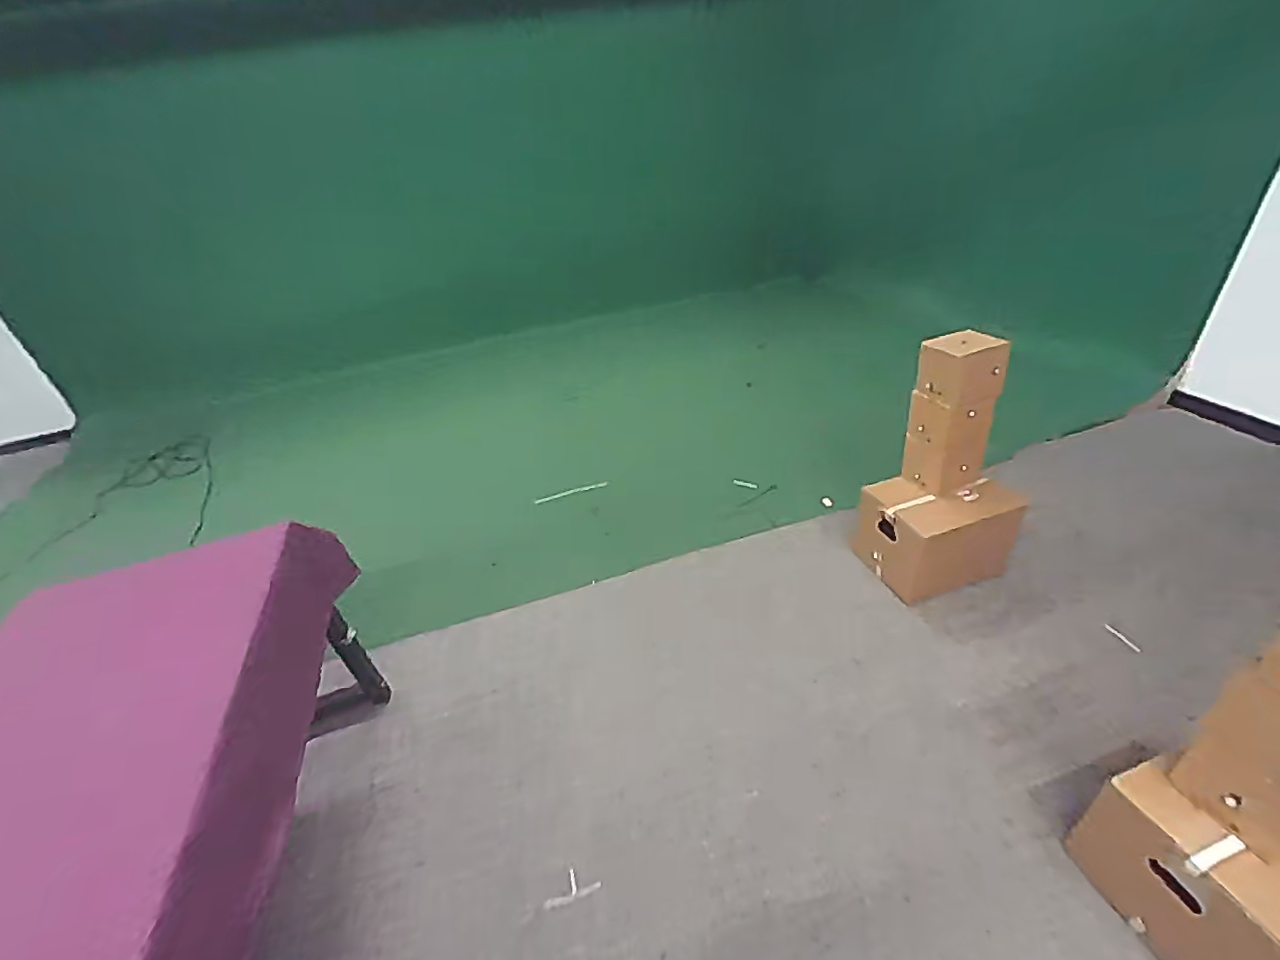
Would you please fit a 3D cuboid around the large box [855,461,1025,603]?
[{"bbox_3d":[1.038,0.178,1.917,0.408,0.320,0.320,-15,34,-11],"label":"large box"}]

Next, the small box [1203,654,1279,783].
[{"bbox_3d":[1.096,0.393,0.874,0.168,0.176,0.179,-17,34,-13],"label":"small box"}]

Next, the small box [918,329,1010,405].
[{"bbox_3d":[0.997,-0.351,1.681,0.179,0.176,0.168,-16,31,-8],"label":"small box"}]

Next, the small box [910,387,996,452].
[{"bbox_3d":[1.014,-0.214,1.769,0.179,0.176,0.168,-17,32,-10],"label":"small box"}]

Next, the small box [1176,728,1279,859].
[{"bbox_3d":[1.123,0.529,0.965,0.179,0.176,0.168,-19,34,-12],"label":"small box"}]
